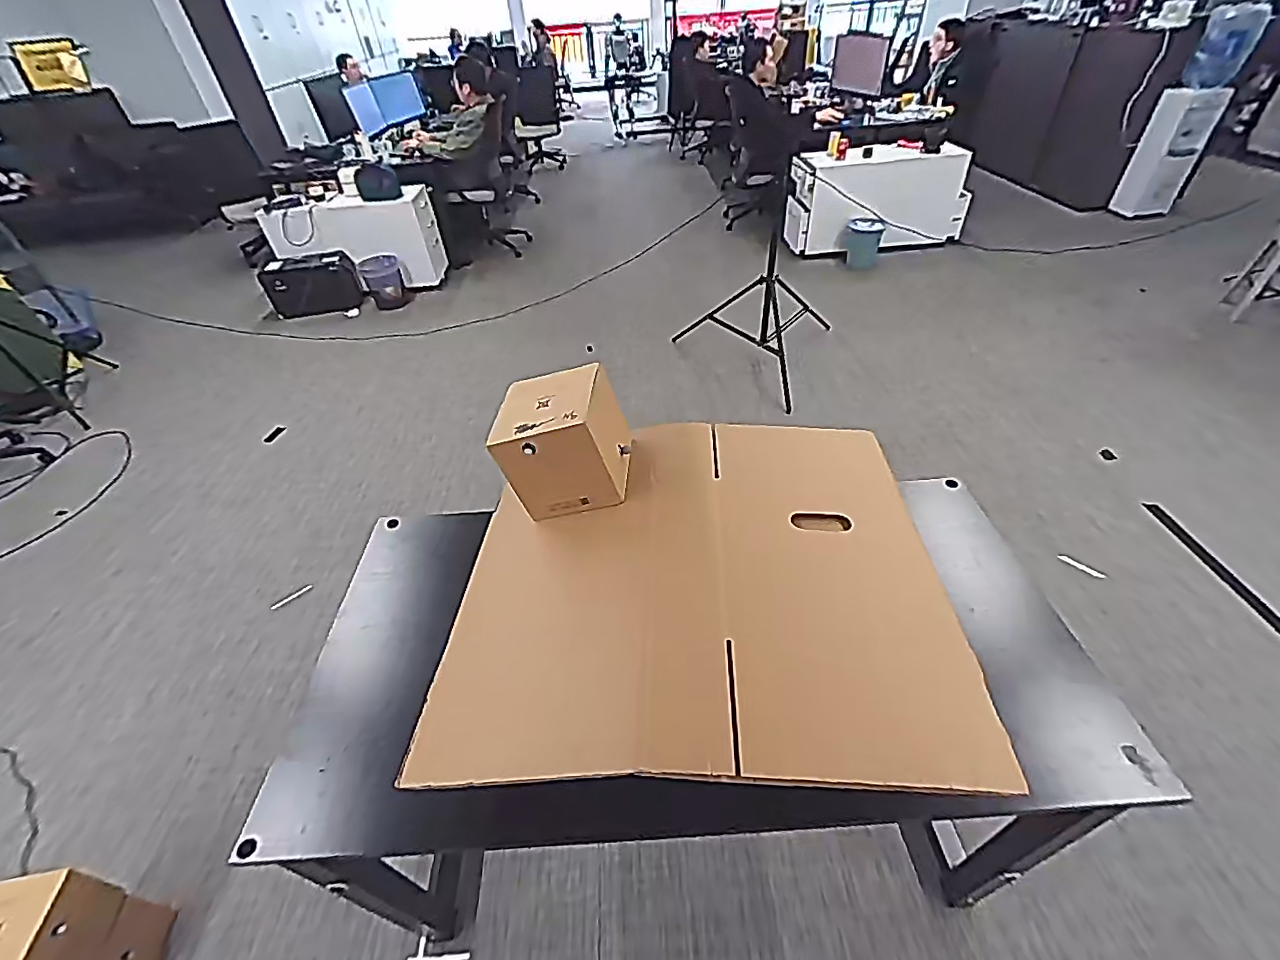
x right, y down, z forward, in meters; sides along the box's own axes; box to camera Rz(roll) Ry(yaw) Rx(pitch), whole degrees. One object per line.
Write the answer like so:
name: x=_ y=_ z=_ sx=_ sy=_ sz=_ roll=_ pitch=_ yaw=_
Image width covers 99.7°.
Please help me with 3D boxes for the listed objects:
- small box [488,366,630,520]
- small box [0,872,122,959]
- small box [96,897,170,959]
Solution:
small box: x=-0.122 y=-0.059 z=0.901 sx=0.168 sy=0.176 sz=0.179 roll=-12 pitch=39 yaw=15
small box: x=-1.157 y=0.883 z=1.025 sx=0.168 sy=0.176 sz=0.179 roll=-8 pitch=41 yaw=-5
small box: x=-1.145 y=1.008 z=1.129 sx=0.168 sy=0.176 sz=0.179 roll=-7 pitch=42 yaw=-2
